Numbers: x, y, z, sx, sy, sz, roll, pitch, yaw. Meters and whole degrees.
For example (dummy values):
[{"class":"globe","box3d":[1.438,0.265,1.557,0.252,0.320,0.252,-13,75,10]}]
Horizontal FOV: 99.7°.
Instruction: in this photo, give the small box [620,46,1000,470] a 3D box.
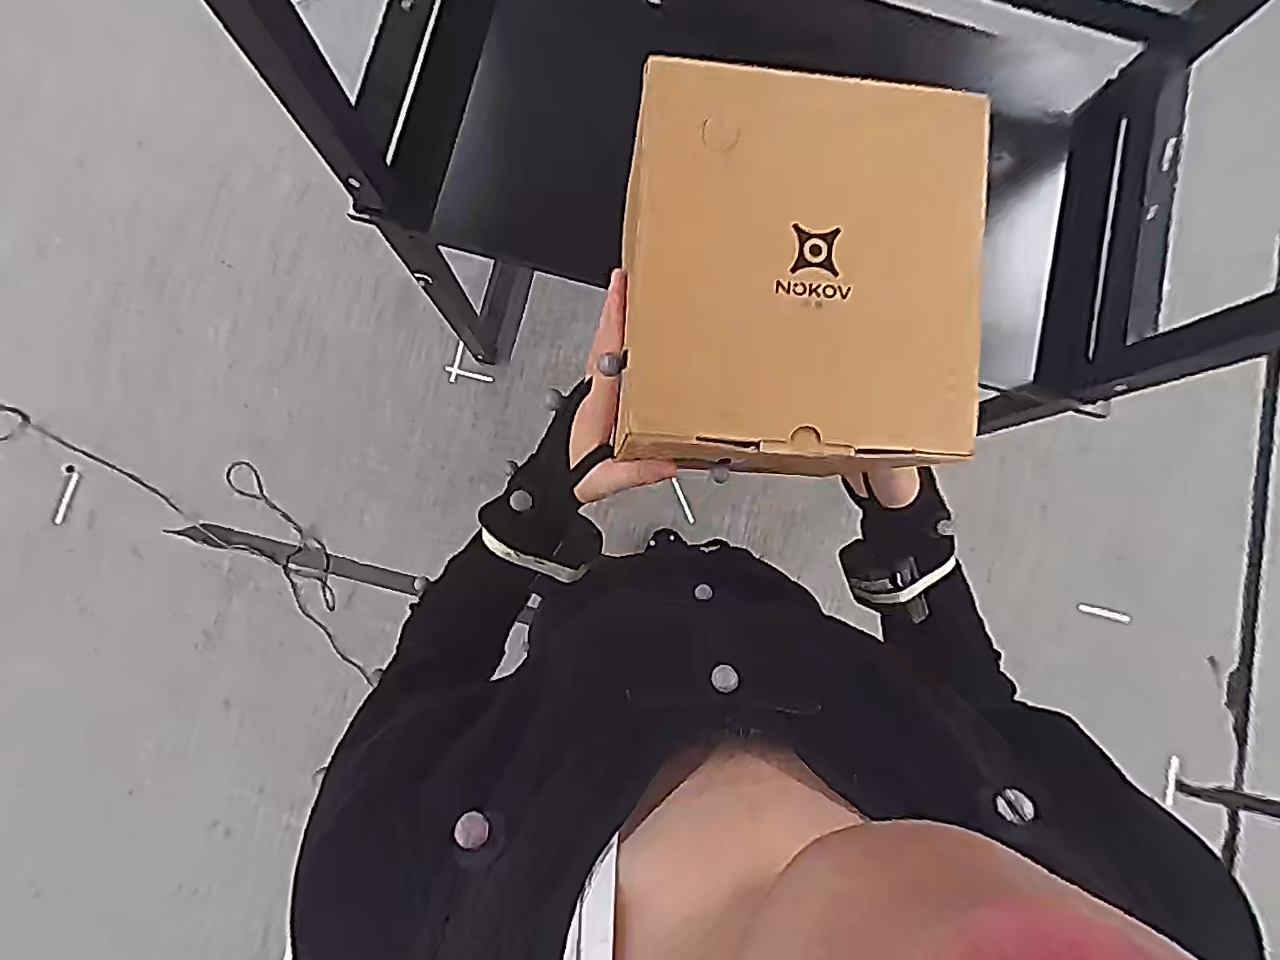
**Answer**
[{"class":"small box","box3d":[0.076,-0.101,0.325,0.168,0.176,0.179,3,89,-4]}]
